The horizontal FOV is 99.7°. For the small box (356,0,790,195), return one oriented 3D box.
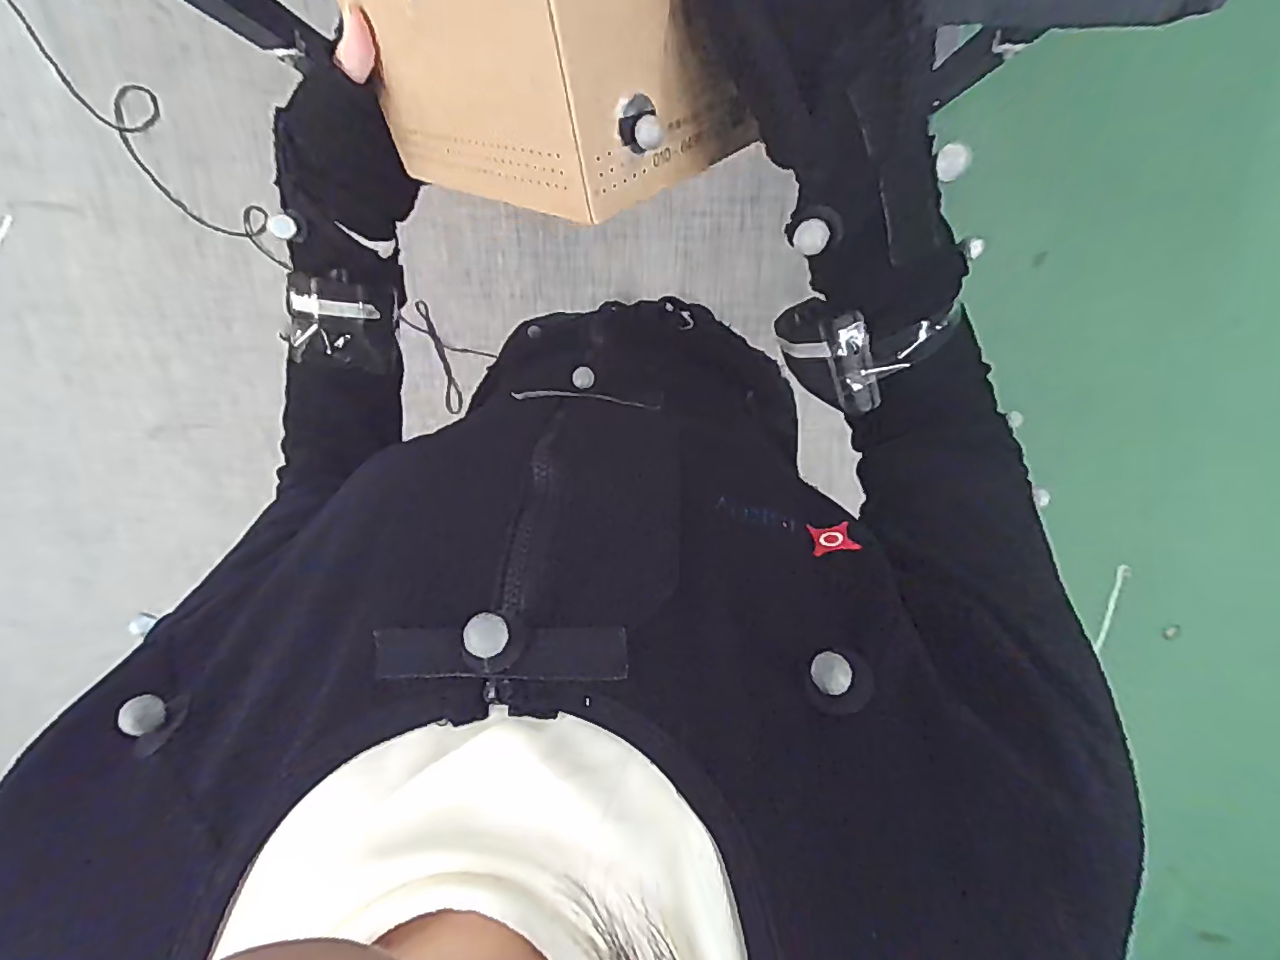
[{"bbox_3d":[-0.036,-0.265,0.273,0.179,0.168,0.176,31,149,34],"label":"small box"}]
